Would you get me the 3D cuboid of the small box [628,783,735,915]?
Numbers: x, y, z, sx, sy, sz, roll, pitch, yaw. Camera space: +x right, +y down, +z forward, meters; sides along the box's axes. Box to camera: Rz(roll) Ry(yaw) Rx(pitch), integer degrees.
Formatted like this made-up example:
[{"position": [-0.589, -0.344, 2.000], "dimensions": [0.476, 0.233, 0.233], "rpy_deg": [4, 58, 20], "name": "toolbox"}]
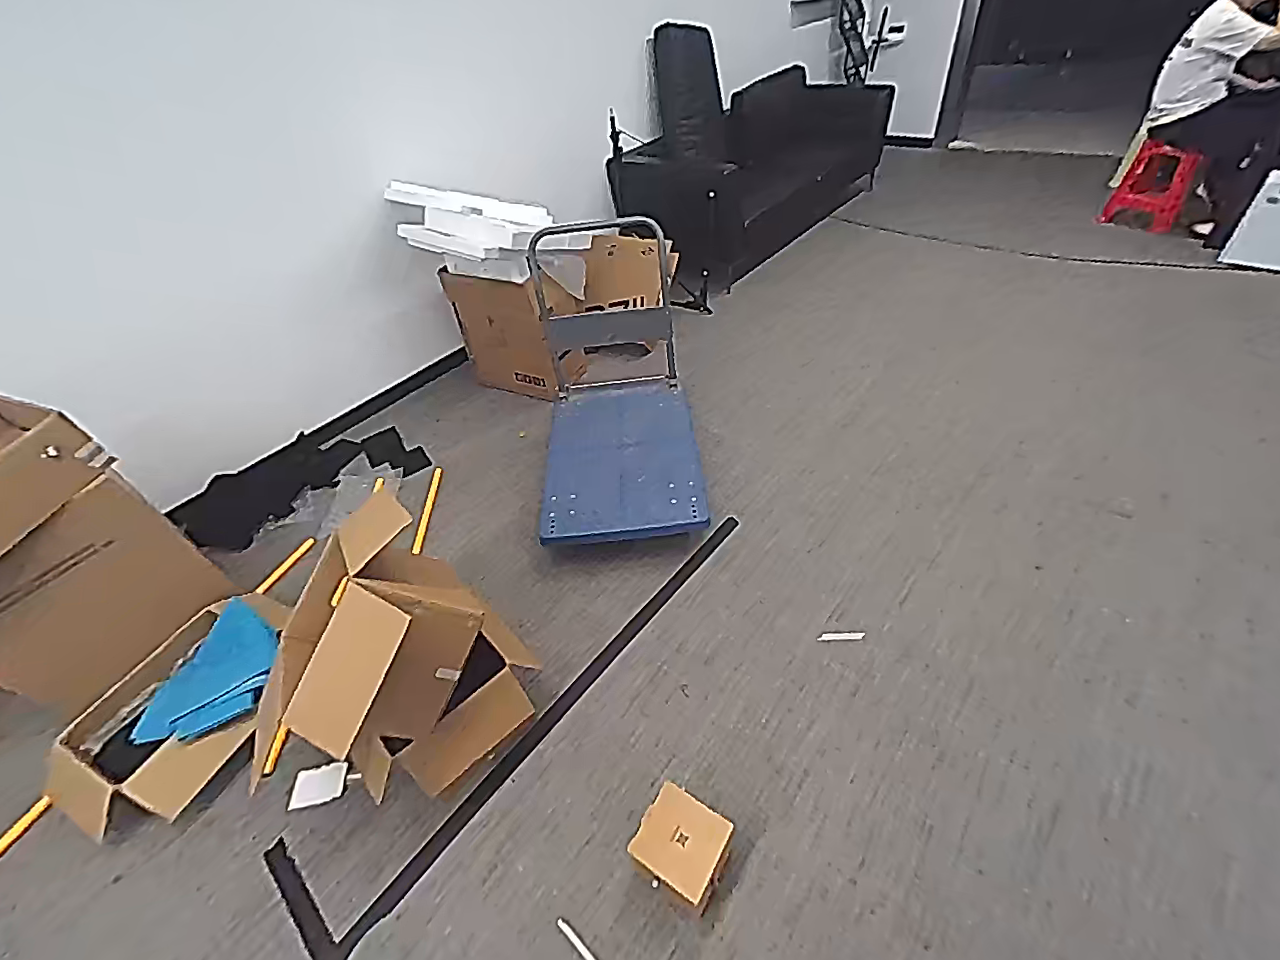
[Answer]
[{"position": [0.099, 0.820, 1.198], "dimensions": [0.179, 0.176, 0.168], "rpy_deg": [20, 50, 28], "name": "small box"}]
